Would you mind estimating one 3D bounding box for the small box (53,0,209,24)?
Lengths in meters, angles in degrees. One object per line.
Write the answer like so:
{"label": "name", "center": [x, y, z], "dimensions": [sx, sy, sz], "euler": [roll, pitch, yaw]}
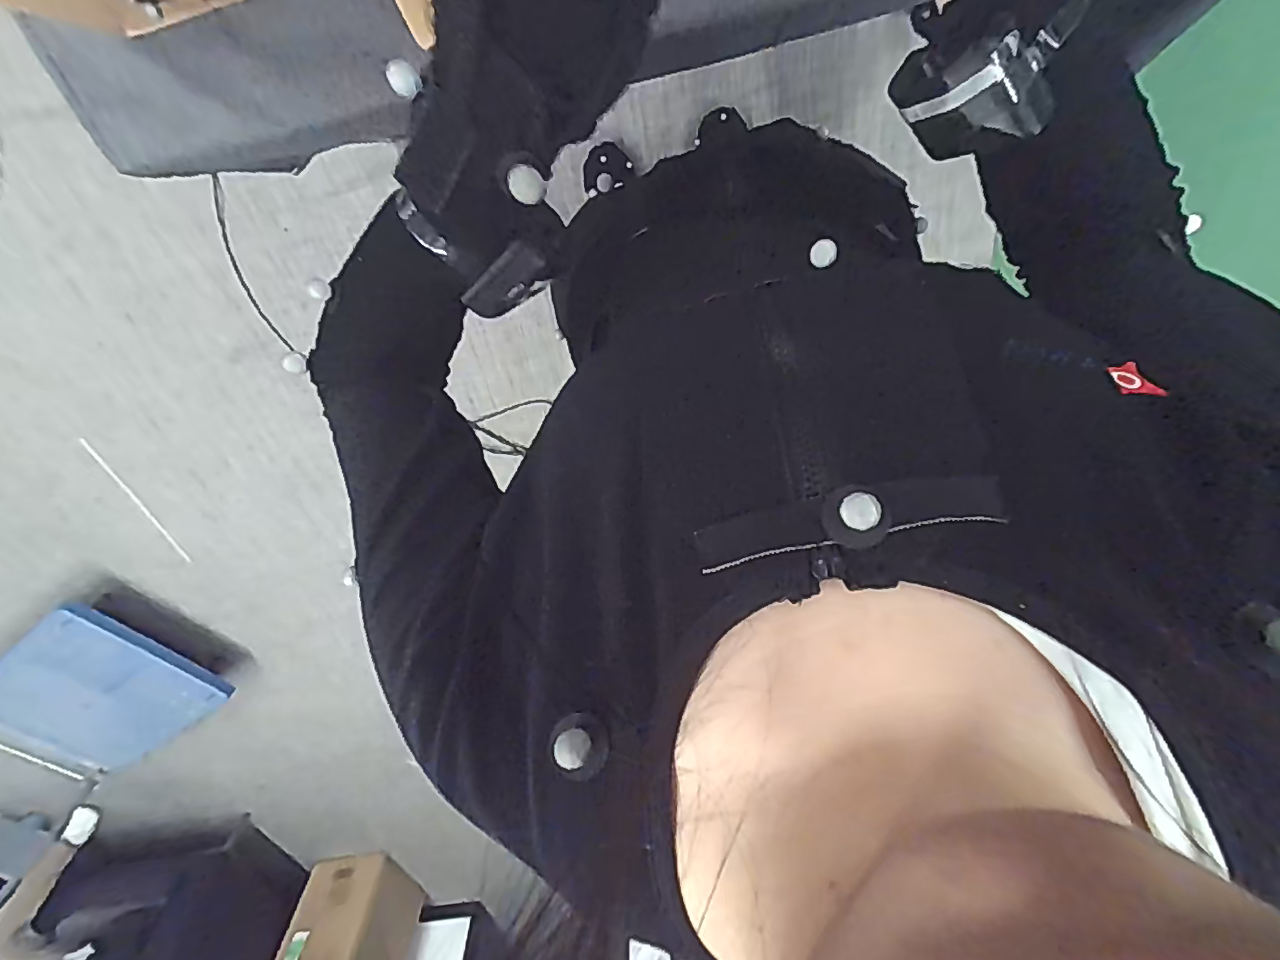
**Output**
{"label": "small box", "center": [-0.426, -0.472, 0.388], "dimensions": [0.168, 0.176, 0.179], "euler": [-12, 122, 6]}
